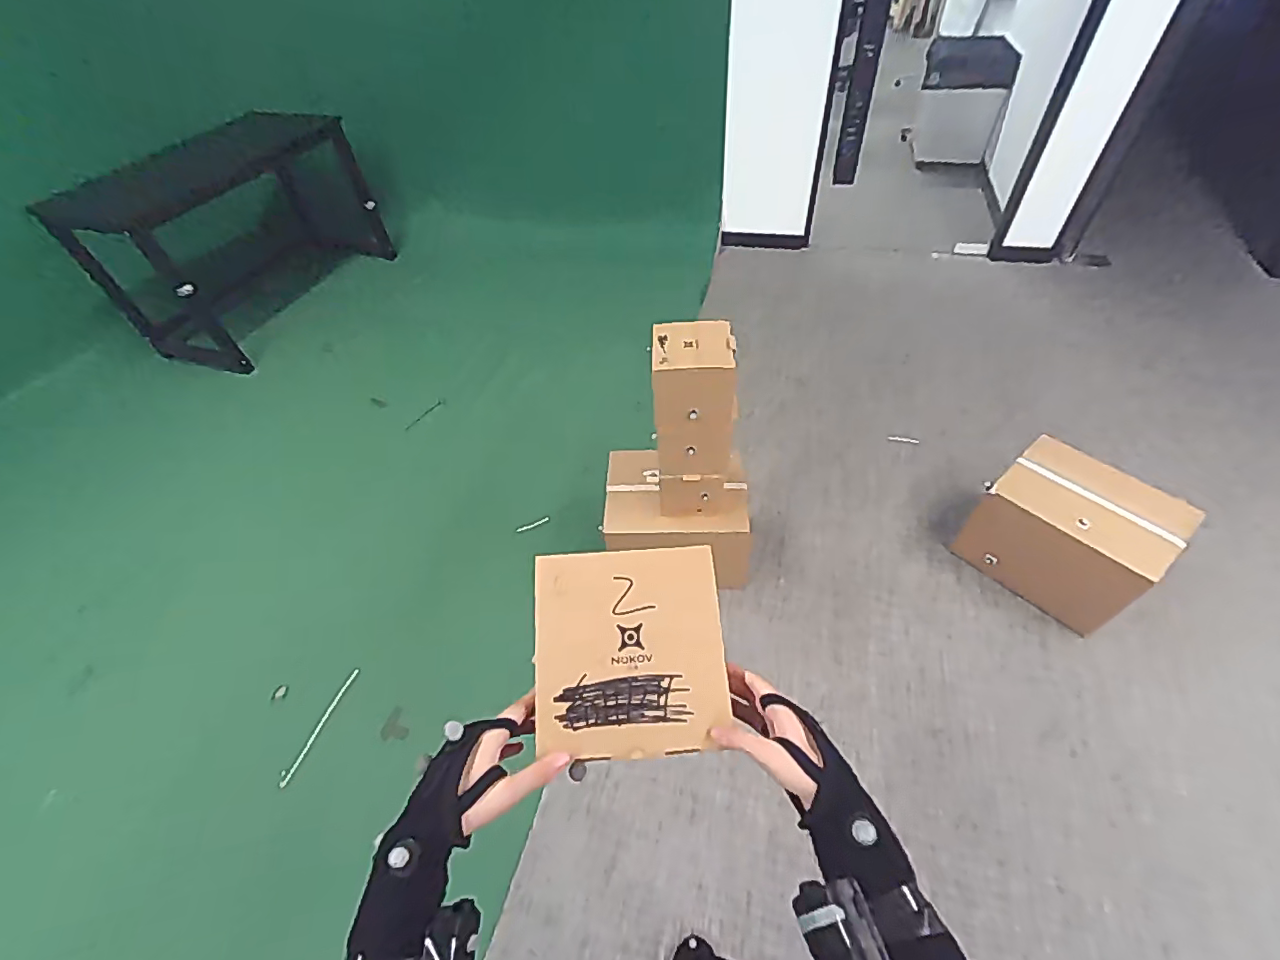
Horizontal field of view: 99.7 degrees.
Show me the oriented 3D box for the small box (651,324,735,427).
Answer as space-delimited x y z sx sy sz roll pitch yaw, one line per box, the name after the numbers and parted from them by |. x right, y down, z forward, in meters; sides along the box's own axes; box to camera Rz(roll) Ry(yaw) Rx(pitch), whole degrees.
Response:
0.116 -0.234 1.226 0.179 0.176 0.168 0 49 3 | small box

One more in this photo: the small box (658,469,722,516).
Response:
0.137 -0.015 1.469 0.168 0.176 0.179 0 49 4 | small box

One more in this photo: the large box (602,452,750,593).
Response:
0.112 0.137 1.664 0.408 0.320 0.320 -2 48 5 | large box

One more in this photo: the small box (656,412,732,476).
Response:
0.129 -0.124 1.348 0.179 0.176 0.168 -2 49 4 | small box
